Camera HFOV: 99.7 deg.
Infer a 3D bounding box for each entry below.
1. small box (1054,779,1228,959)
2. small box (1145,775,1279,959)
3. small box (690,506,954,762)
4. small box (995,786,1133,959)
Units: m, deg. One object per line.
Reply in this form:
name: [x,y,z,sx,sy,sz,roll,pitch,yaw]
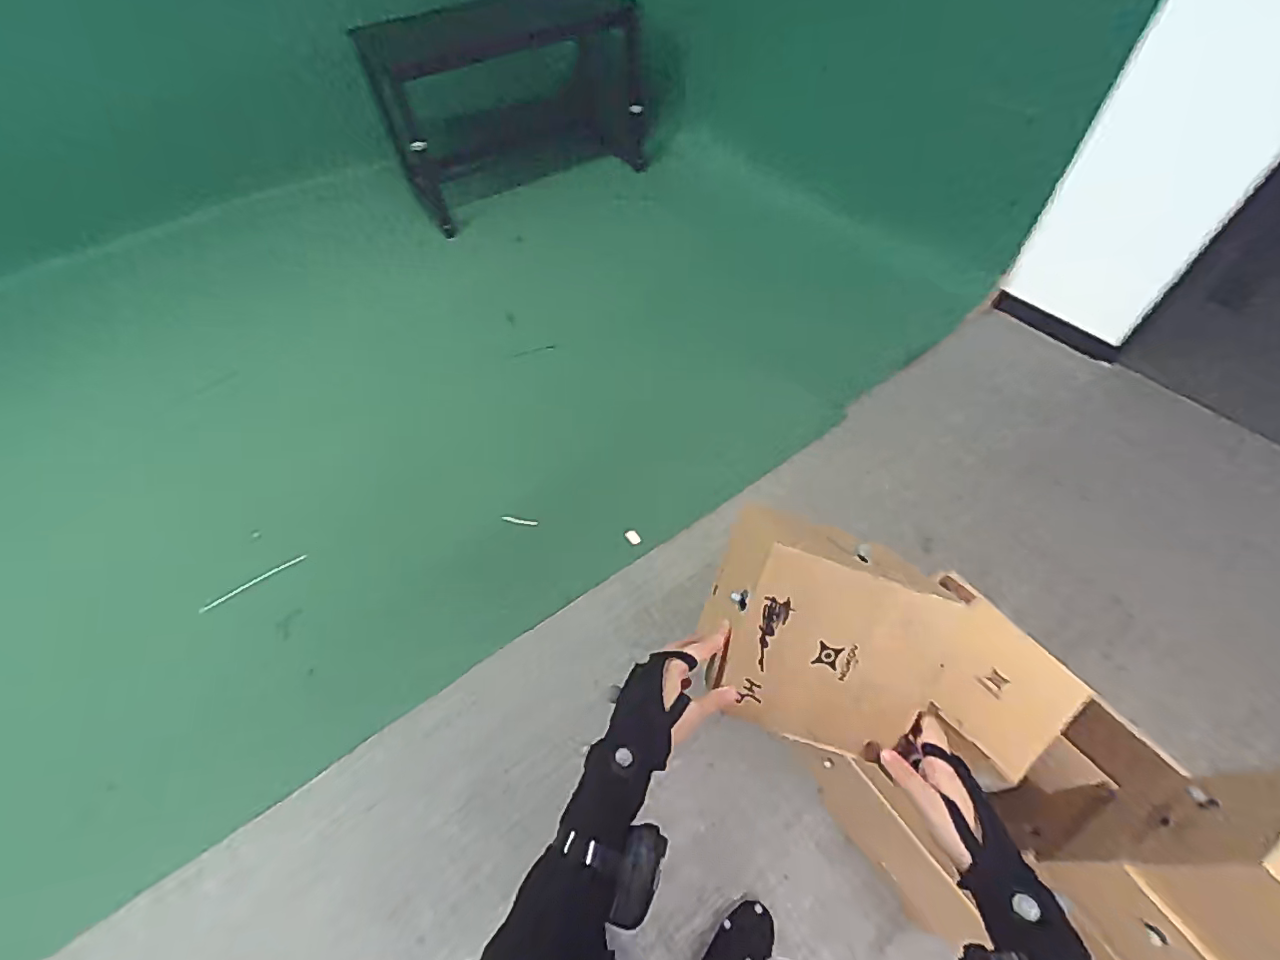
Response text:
small box: [0.635,0.480,0.615,0.168,0.176,0.179,-28,57,-14]
small box: [0.636,0.384,0.483,0.168,0.176,0.179,-28,56,-15]
small box: [0.160,0.136,0.541,0.179,0.176,0.168,18,98,-1]
small box: [0.641,0.566,0.755,0.179,0.176,0.168,-26,57,-14]
